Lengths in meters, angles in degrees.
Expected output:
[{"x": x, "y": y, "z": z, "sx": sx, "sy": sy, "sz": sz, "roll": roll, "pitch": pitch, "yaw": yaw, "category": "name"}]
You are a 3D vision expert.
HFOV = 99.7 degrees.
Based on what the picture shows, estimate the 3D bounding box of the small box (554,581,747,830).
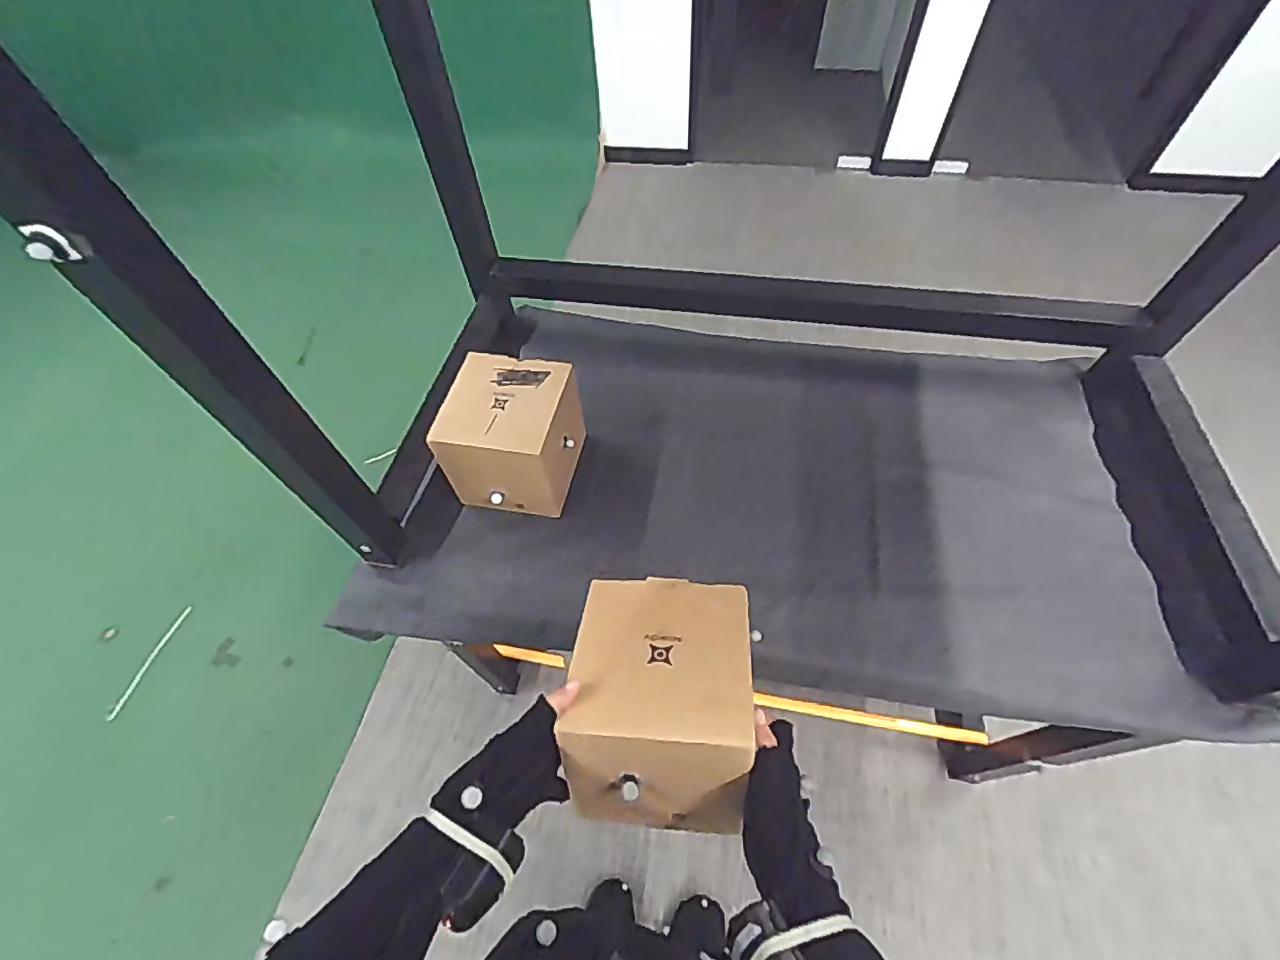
[{"x": 0.021, "y": 0.228, "z": 0.556, "sx": 0.168, "sy": 0.176, "sz": 0.179, "roll": 1, "pitch": 34, "yaw": 6, "category": "small box"}]

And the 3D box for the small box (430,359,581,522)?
[{"x": -0.194, "y": -0.060, "z": 0.844, "sx": 0.168, "sy": 0.176, "sz": 0.179, "roll": 8, "pitch": 56, "yaw": 8, "category": "small box"}]
